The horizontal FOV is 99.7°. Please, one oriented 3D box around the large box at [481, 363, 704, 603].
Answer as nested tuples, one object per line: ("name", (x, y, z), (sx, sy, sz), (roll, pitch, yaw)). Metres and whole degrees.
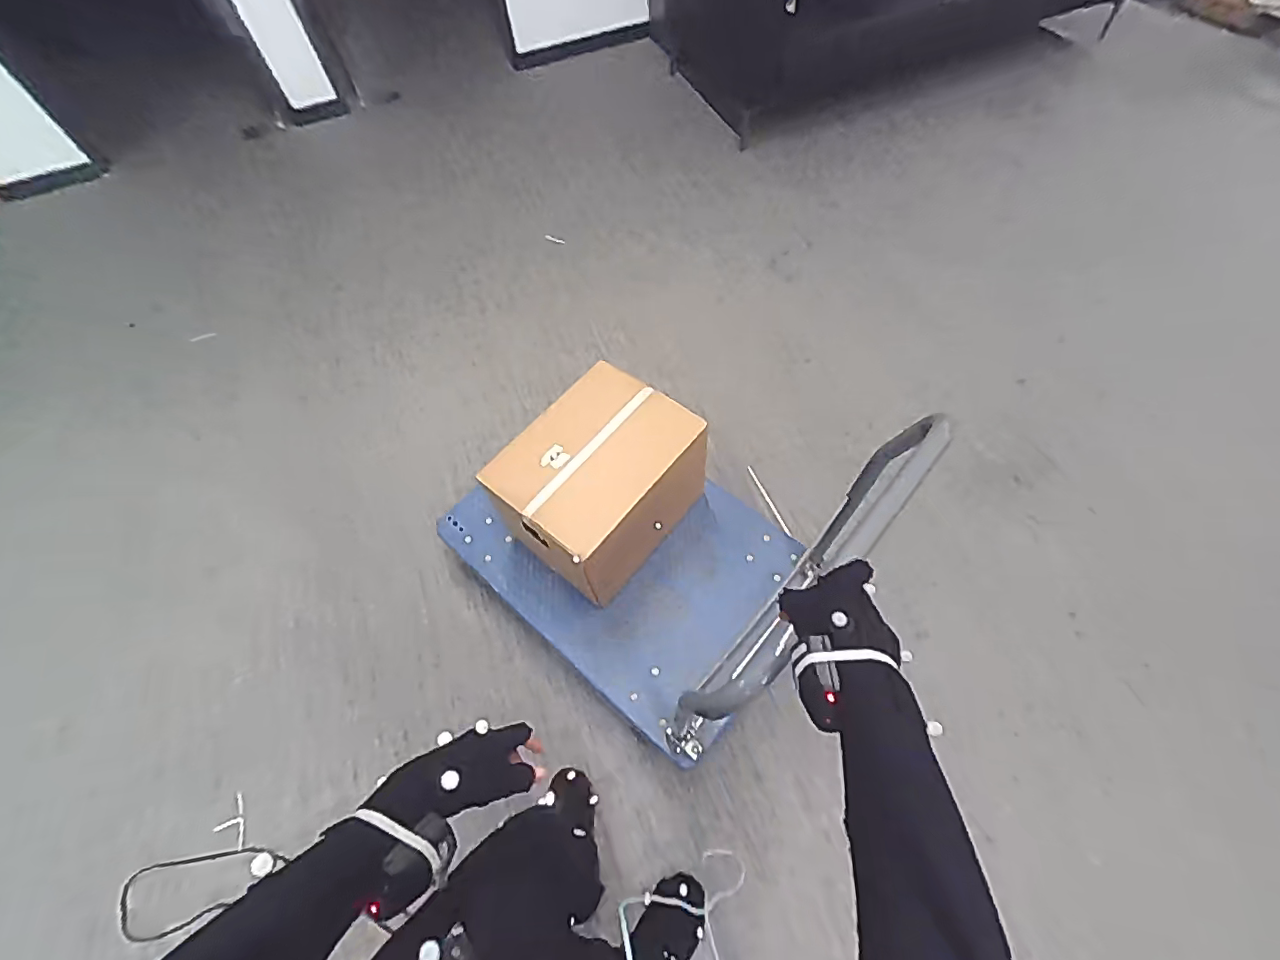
("large box", (-0.086, 0.011, 1.277), (0.320, 0.320, 0.408), (34, 69, 22))
